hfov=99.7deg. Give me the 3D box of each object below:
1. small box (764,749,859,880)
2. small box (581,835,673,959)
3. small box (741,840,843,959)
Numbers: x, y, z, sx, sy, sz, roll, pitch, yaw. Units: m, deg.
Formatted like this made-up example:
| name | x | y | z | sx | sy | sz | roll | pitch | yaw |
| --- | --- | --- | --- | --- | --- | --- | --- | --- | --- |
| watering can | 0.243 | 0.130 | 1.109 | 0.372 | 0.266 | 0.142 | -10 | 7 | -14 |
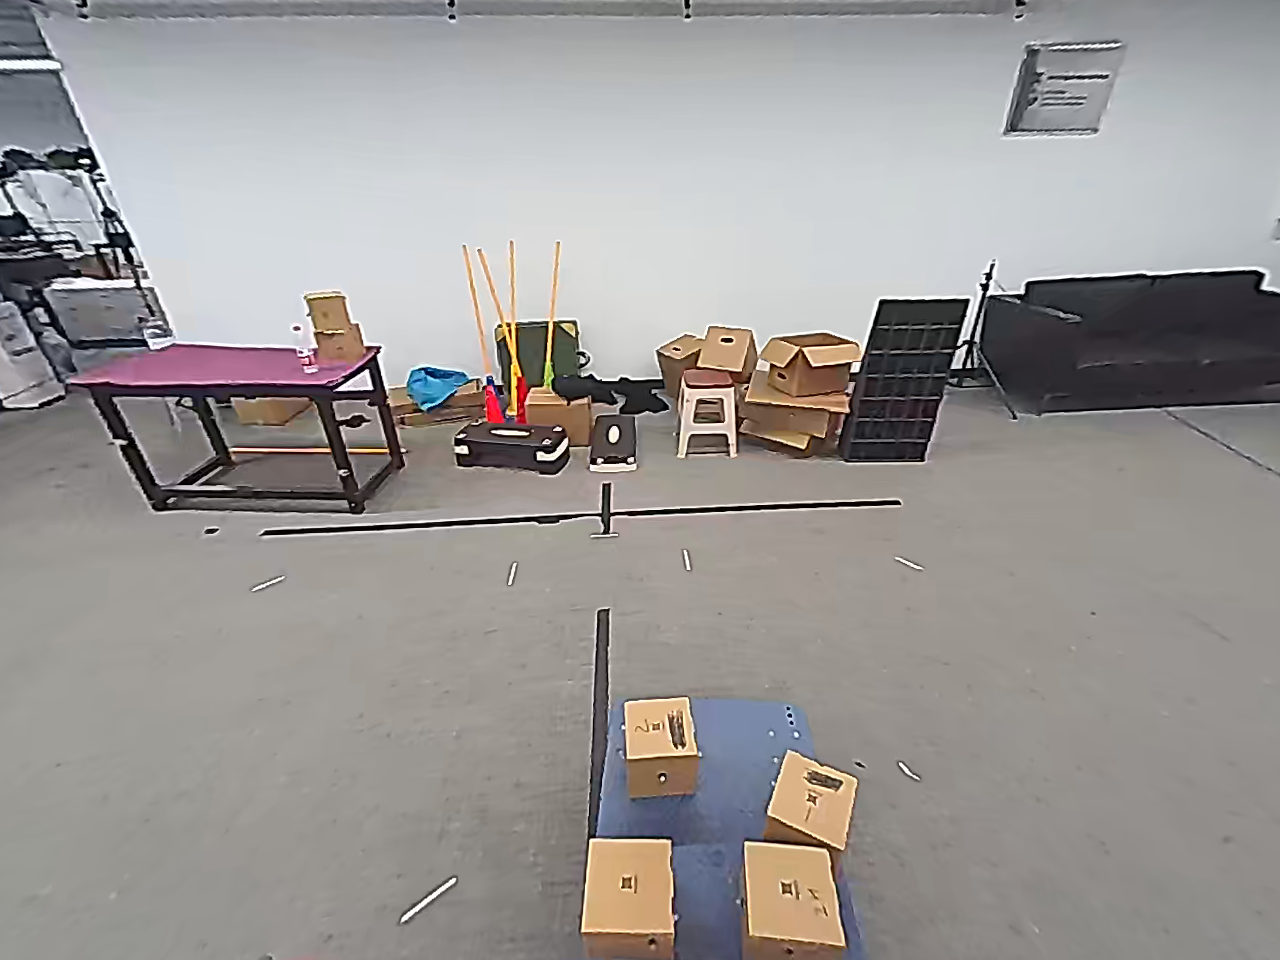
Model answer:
| name | x | y | z | sx | sy | sz | roll | pitch | yaw |
| --- | --- | --- | --- | --- | --- | --- | --- | --- | --- |
| small box | 0.392 | 0.776 | 1.249 | 0.168 | 0.176 | 0.179 | 14 | 34 | 26 |
| small box | -0.021 | 0.865 | 1.113 | 0.179 | 0.176 | 0.168 | 1 | 30 | 1 |
| small box | 0.296 | 0.868 | 1.092 | 0.179 | 0.176 | 0.168 | 2 | 30 | 7 |
